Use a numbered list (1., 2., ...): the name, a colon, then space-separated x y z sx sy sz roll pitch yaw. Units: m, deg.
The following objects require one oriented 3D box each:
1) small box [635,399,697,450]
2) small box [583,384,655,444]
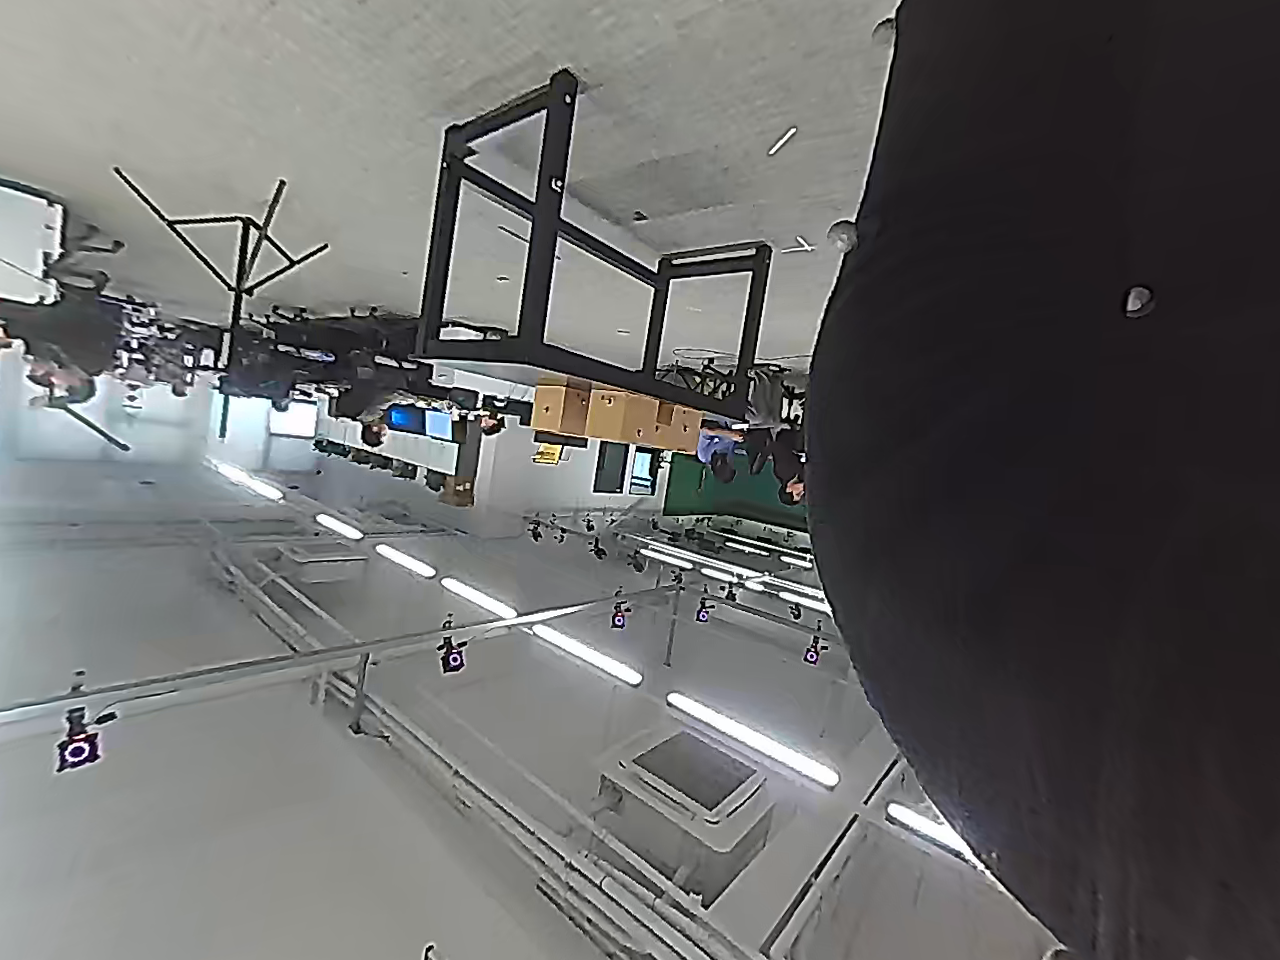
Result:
1. small box: 0.101 -0.211 2.034 0.168 0.176 0.179 5 -175 -45
2. small box: -0.068 -0.225 1.840 0.168 0.176 0.179 11 -176 40
